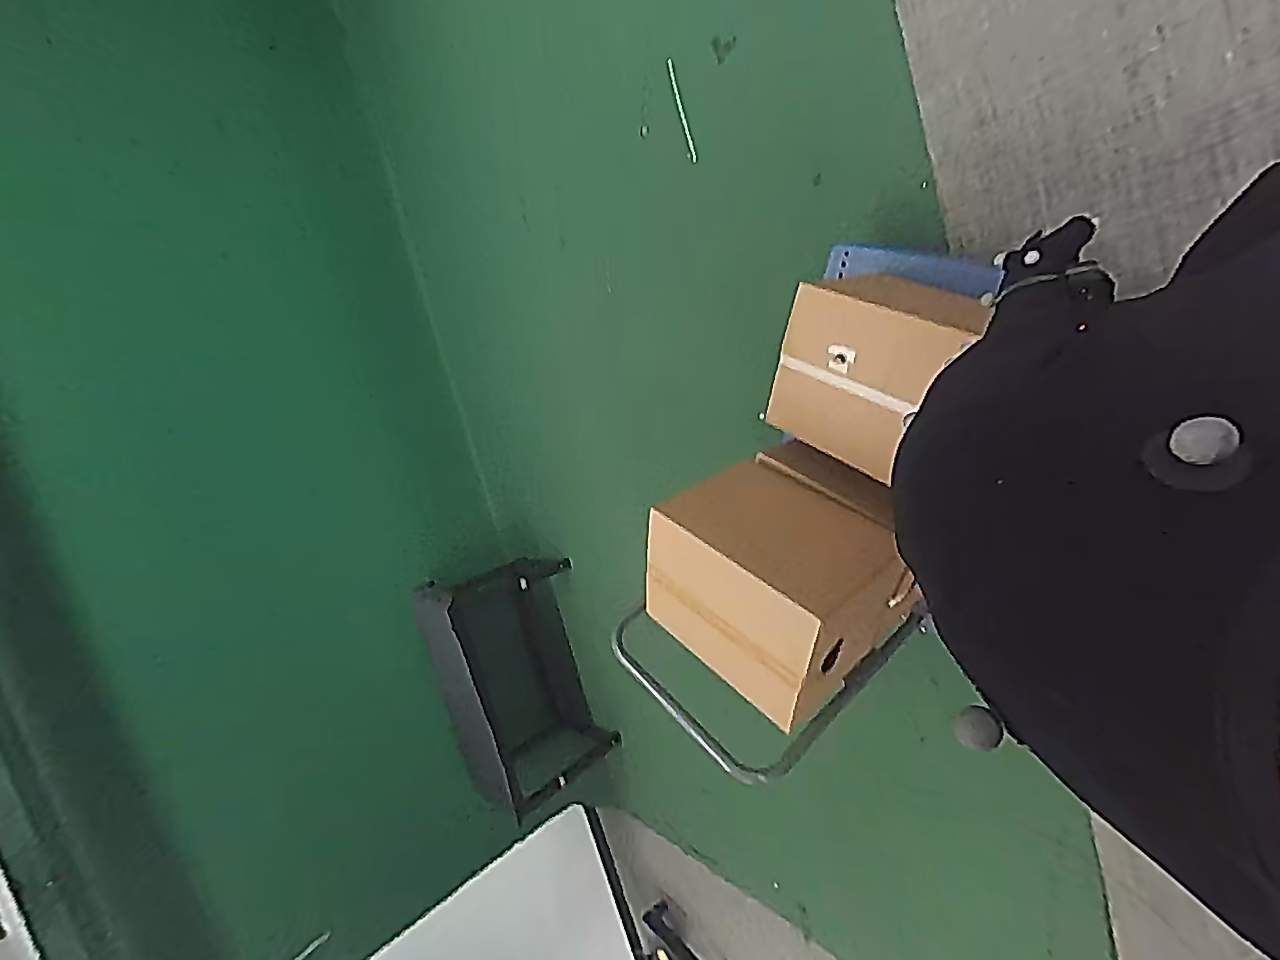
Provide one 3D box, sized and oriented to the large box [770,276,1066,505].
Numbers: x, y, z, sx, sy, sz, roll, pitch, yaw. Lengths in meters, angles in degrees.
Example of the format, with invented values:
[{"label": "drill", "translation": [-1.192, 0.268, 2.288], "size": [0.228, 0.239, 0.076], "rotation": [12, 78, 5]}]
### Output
[{"label": "large box", "translation": [0.553, -0.211, 1.126], "size": [0.408, 0.320, 0.320], "rotation": [36, 133, 37]}]
